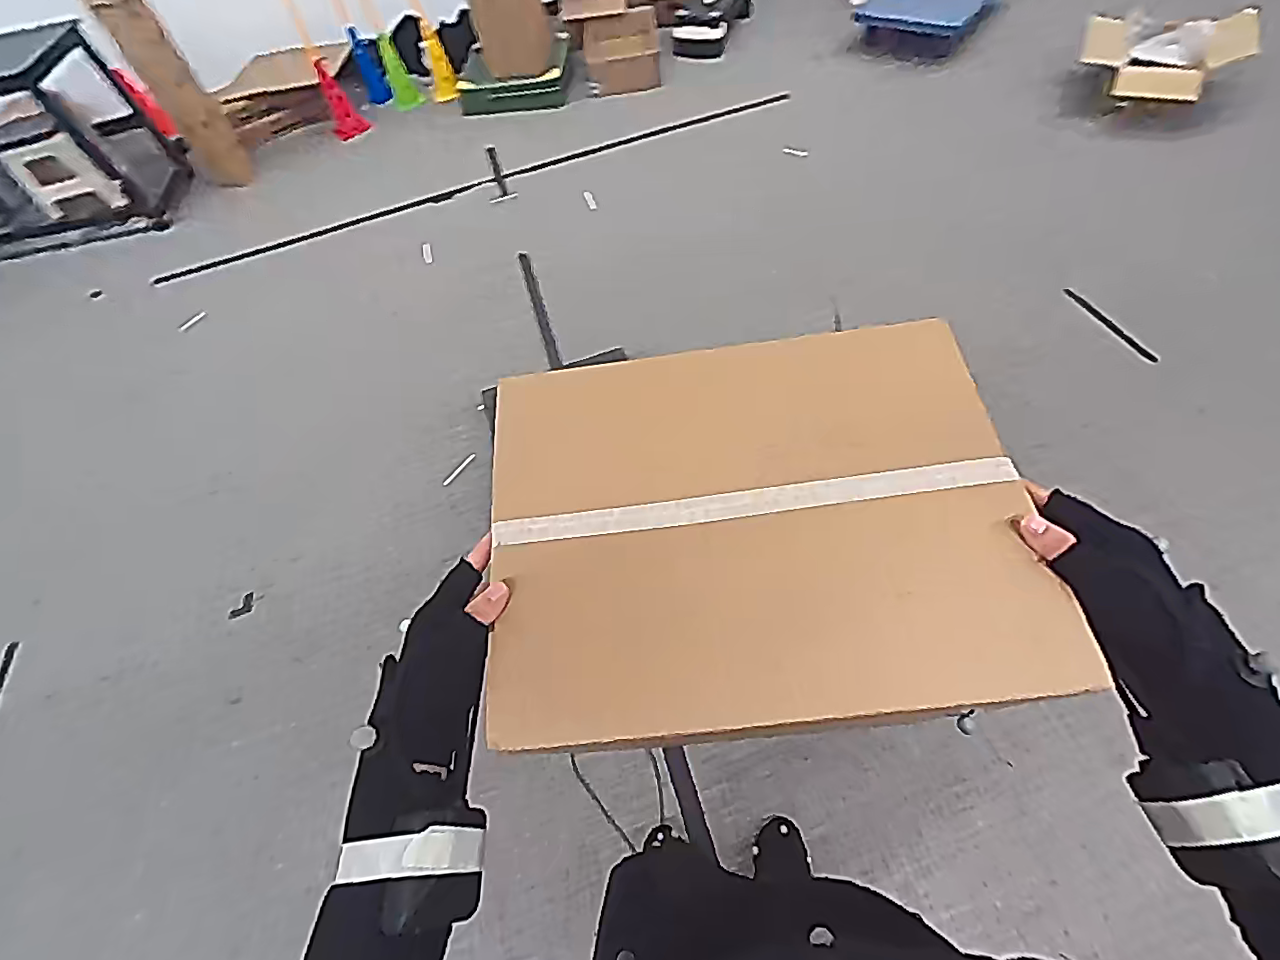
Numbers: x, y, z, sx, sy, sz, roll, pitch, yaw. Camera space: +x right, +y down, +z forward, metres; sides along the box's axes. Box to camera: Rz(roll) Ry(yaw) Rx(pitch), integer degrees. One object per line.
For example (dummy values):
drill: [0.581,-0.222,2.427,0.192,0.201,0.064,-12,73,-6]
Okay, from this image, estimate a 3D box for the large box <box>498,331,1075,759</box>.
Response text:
large box: [0.098,0.093,0.566,0.408,0.320,0.320,-8,62,3]
